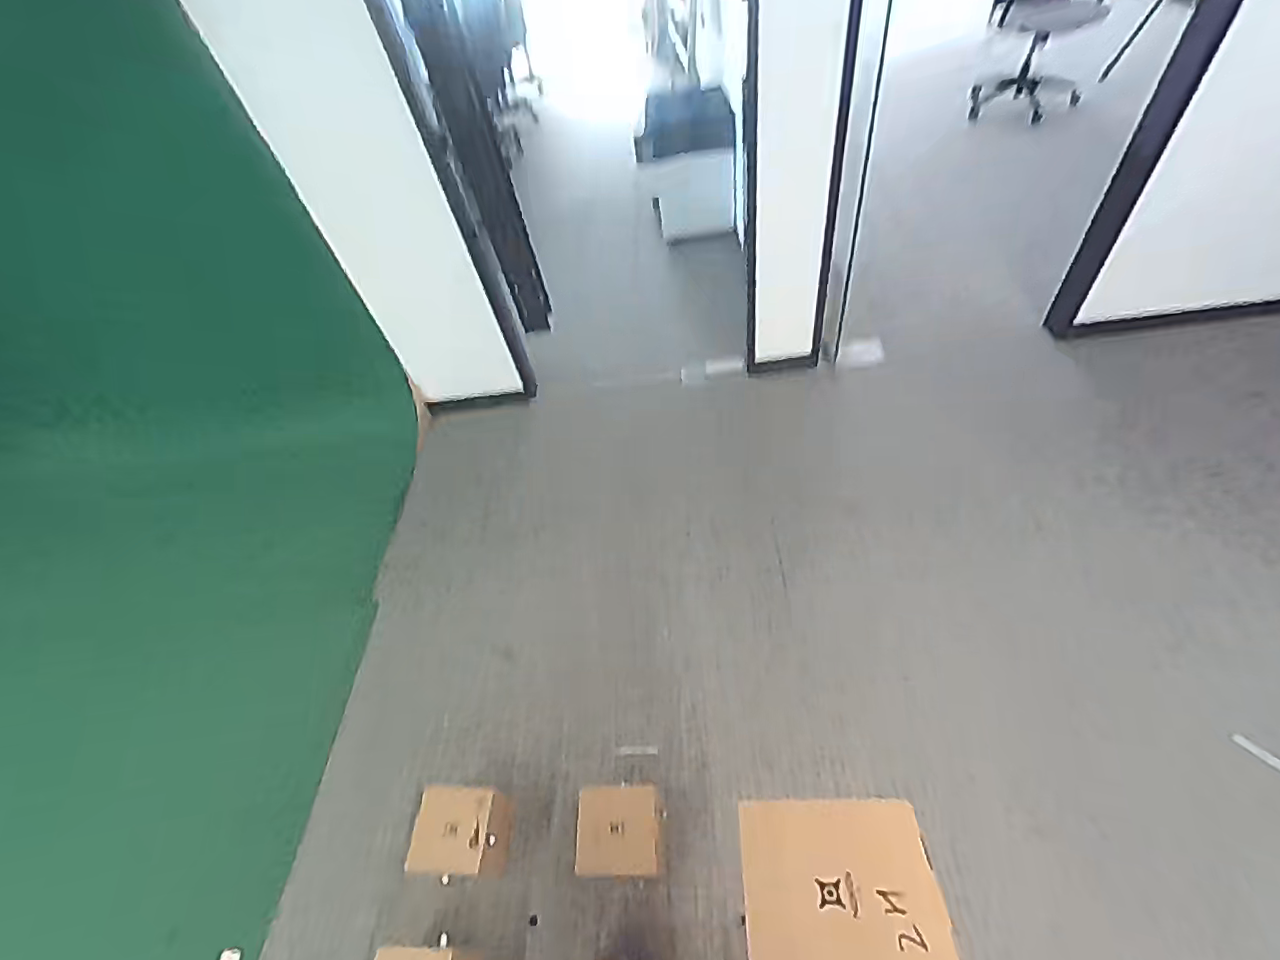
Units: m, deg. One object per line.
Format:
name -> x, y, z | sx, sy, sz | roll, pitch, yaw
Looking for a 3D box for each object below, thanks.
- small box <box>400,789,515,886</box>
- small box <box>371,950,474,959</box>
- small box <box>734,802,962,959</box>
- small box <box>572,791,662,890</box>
small box -> -0.415, 0.837, 1.263 | 0.179, 0.176, 0.168 | -3, 49, 9
small box -> -0.446, 1.058, 1.077 | 0.168, 0.176, 0.179 | -4, 48, 8
small box -> 0.188, 0.435, 0.516 | 0.179, 0.176, 0.168 | -5, 34, 9
small box -> -0.042, 0.810, 1.215 | 0.179, 0.176, 0.168 | -5, 48, 7
